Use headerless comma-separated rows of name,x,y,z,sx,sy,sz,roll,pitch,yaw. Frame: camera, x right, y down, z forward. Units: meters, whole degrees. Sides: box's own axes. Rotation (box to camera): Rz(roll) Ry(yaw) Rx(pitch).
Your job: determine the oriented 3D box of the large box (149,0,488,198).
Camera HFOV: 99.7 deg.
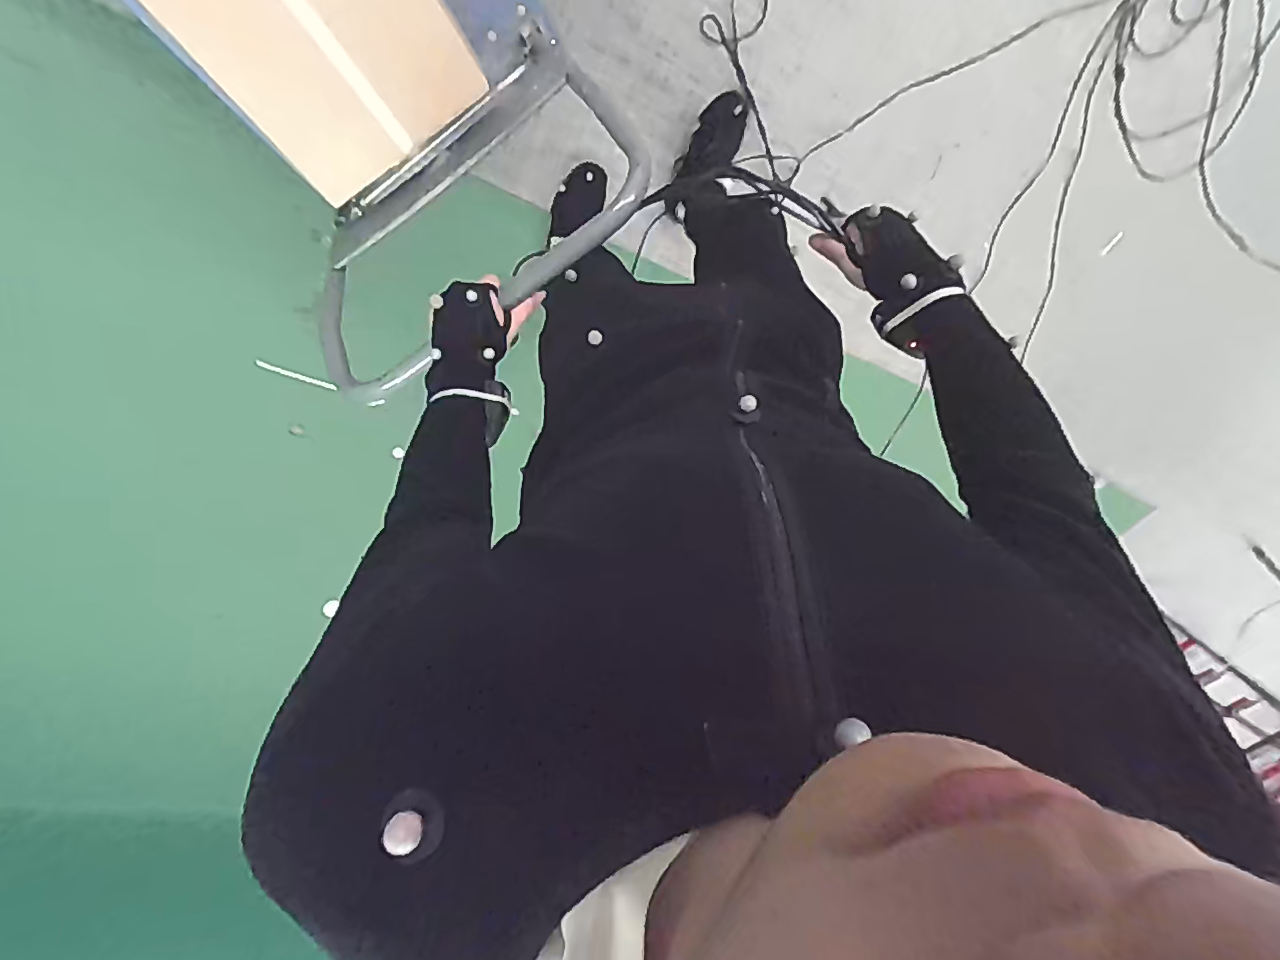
large box,-0.481,-0.732,0.810,0.320,0.320,0.408,-31,135,9
